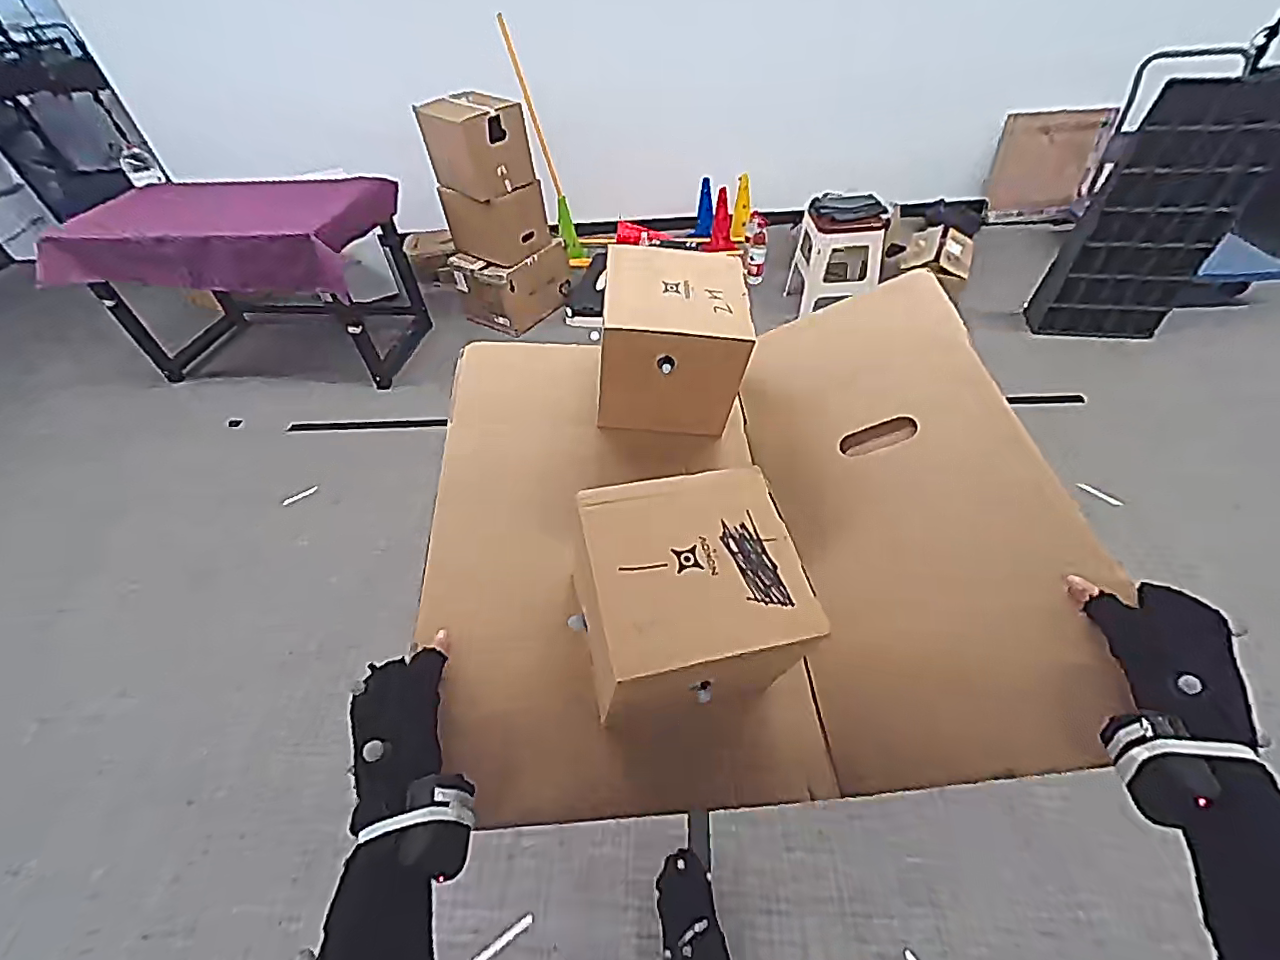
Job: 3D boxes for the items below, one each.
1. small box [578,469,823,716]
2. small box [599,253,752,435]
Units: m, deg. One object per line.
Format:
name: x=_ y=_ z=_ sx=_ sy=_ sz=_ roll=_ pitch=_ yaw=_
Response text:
small box: x=0.039 y=0.112 z=0.523 sx=0.179 sy=0.176 sz=0.168 roll=-8 pitch=57 yaw=-12
small box: x=0.038 y=-0.177 z=0.727 sx=0.179 sy=0.176 sz=0.168 roll=5 pitch=55 yaw=-5
